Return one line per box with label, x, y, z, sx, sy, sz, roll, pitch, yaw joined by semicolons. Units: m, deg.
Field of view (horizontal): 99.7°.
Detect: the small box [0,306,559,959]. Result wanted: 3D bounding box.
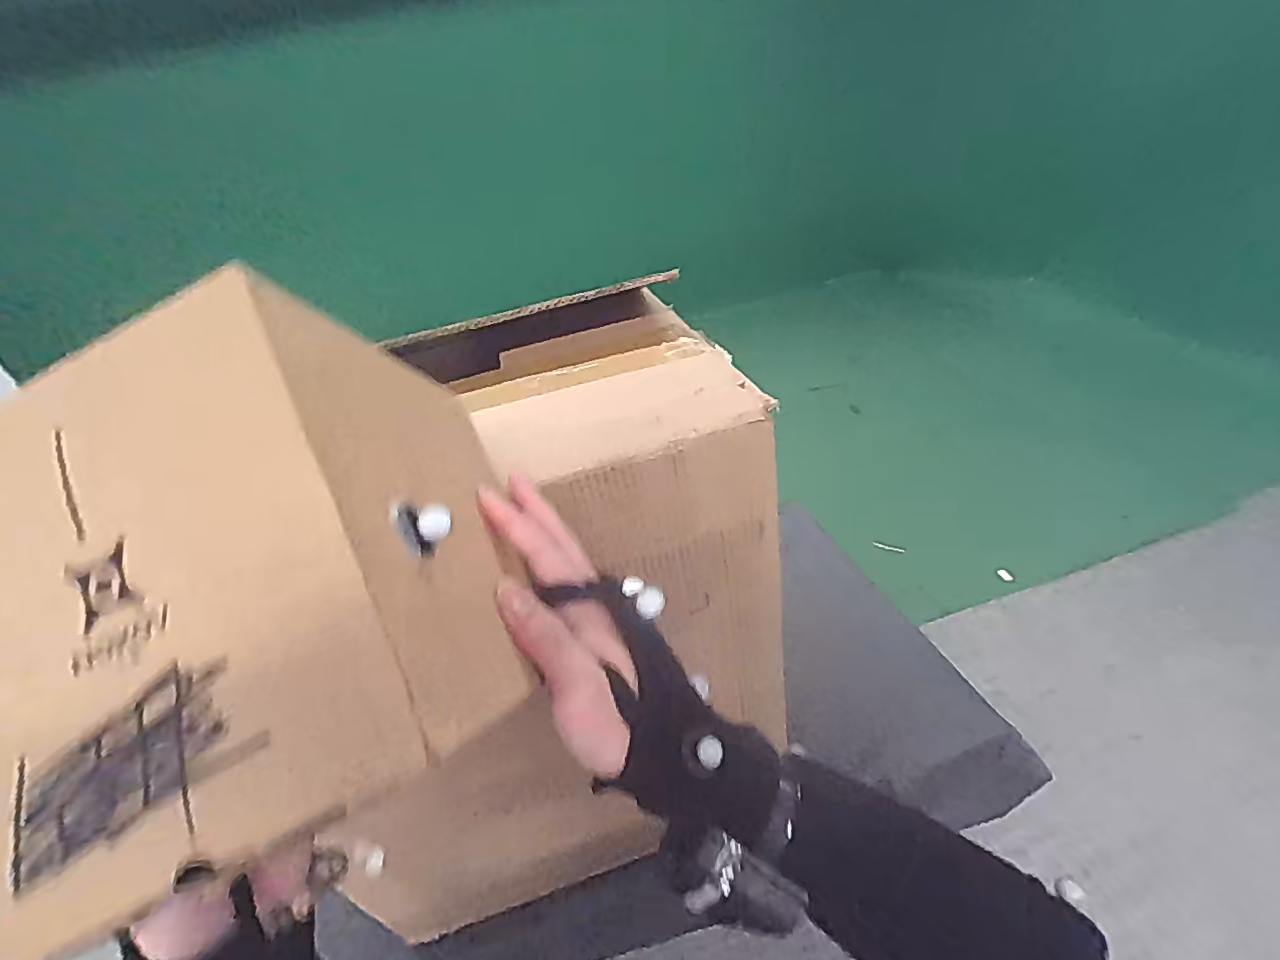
small box;-0.159;0.062;0.252;0.168;0.176;0.179;-28;79;3
